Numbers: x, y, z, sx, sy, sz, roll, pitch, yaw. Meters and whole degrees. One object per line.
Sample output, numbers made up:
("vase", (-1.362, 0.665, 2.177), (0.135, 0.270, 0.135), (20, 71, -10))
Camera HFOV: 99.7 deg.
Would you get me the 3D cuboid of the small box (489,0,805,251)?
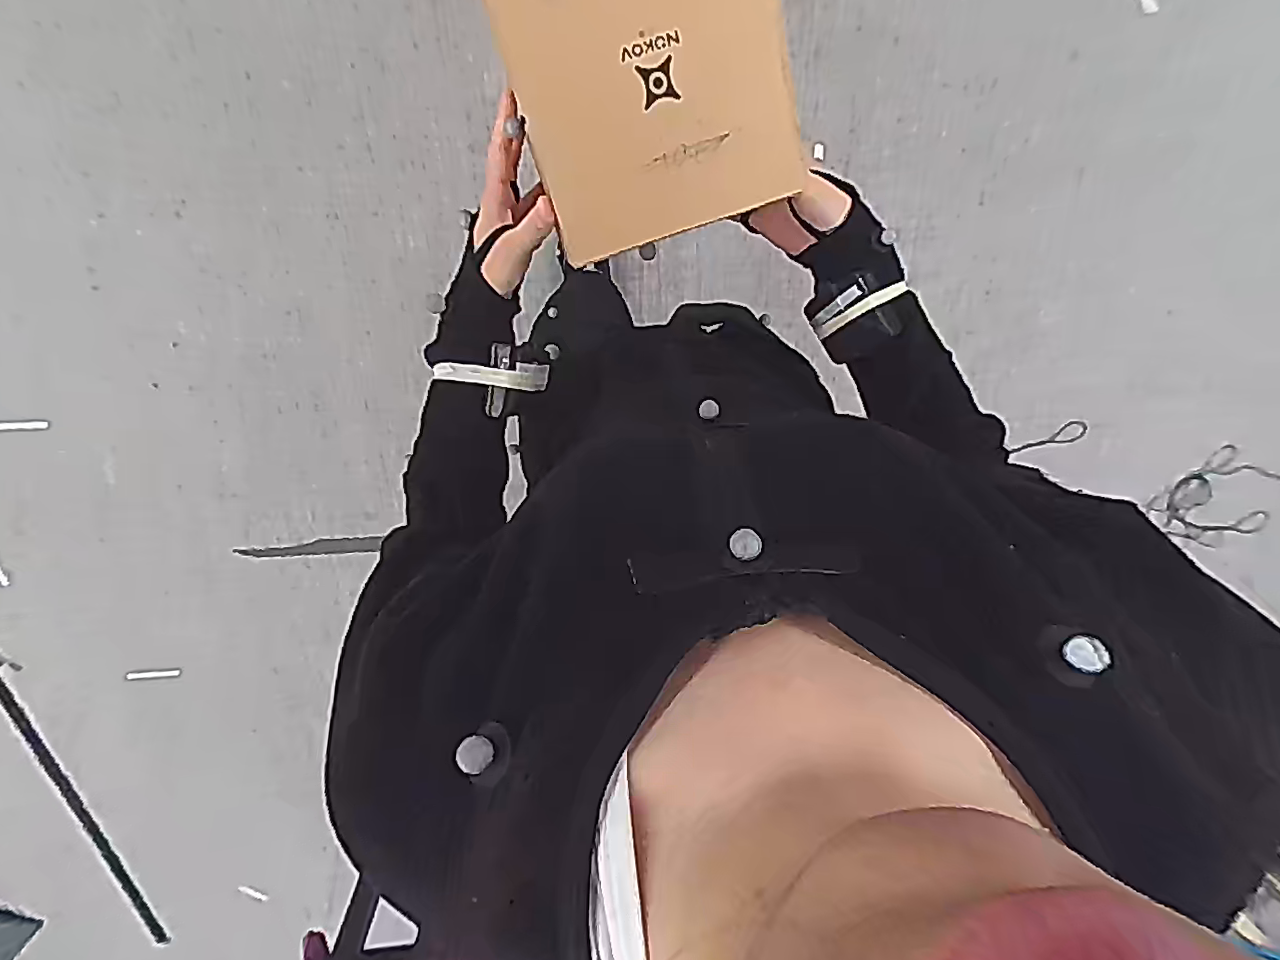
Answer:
("small box", (-0.004, -0.276, 0.389), (0.168, 0.176, 0.179), (-18, 115, -1))
